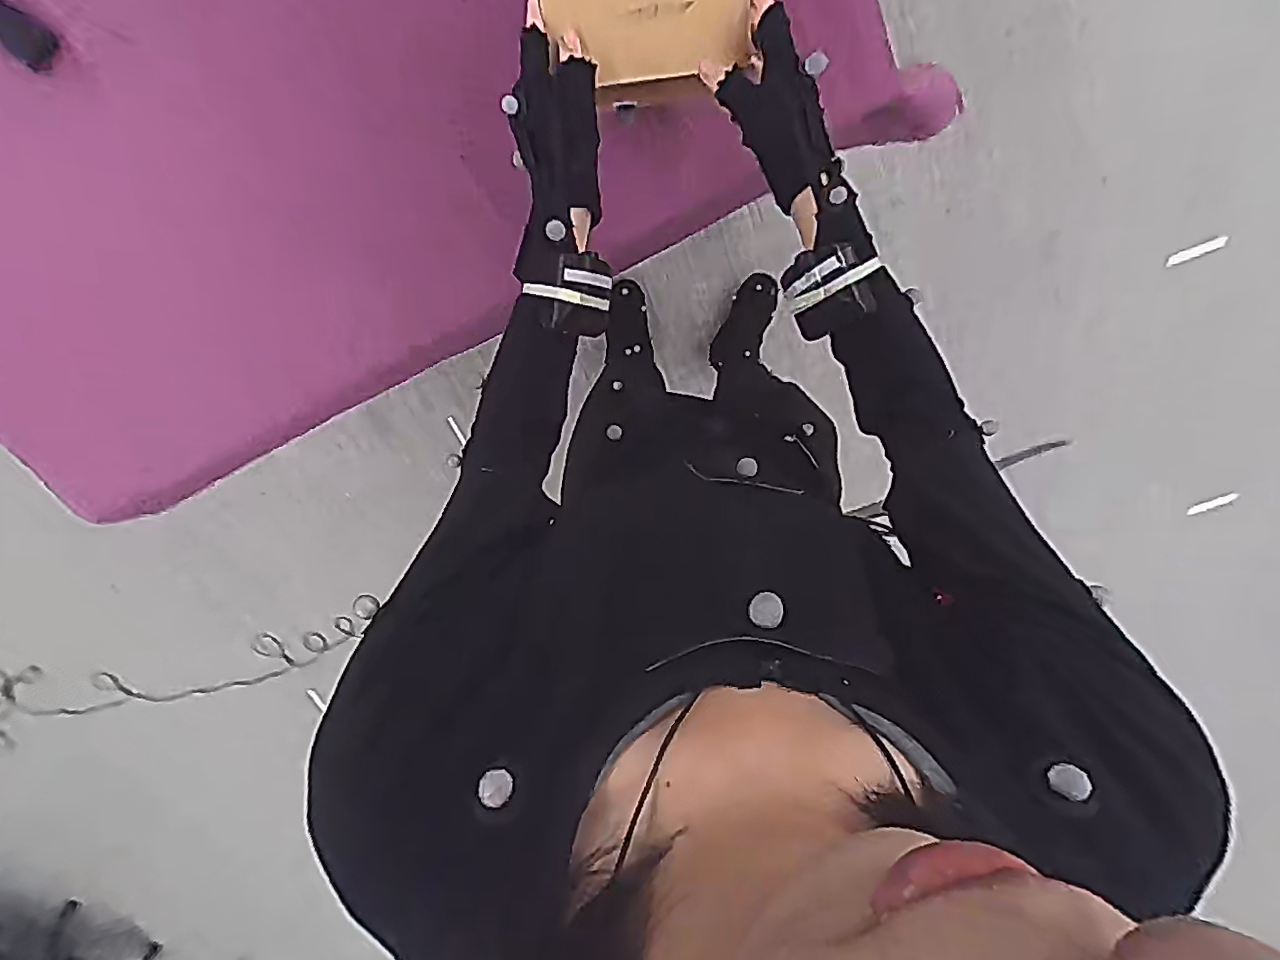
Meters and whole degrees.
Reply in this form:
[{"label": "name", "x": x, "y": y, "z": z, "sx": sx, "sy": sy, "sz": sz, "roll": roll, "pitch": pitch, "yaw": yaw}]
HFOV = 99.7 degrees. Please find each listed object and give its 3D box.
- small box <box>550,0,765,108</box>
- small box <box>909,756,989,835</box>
[{"label": "small box", "x": 0.003, "y": -0.442, "z": 0.463, "sx": 0.168, "sy": 0.176, "sz": 0.179, "roll": -8, "pitch": 119, "yaw": -2}, {"label": "small box", "x": 1.128, "y": 1.149, "z": 1.987, "sx": 0.168, "sy": 0.176, "sz": 0.179, "roll": -32, "pitch": 110, "yaw": 9}]
